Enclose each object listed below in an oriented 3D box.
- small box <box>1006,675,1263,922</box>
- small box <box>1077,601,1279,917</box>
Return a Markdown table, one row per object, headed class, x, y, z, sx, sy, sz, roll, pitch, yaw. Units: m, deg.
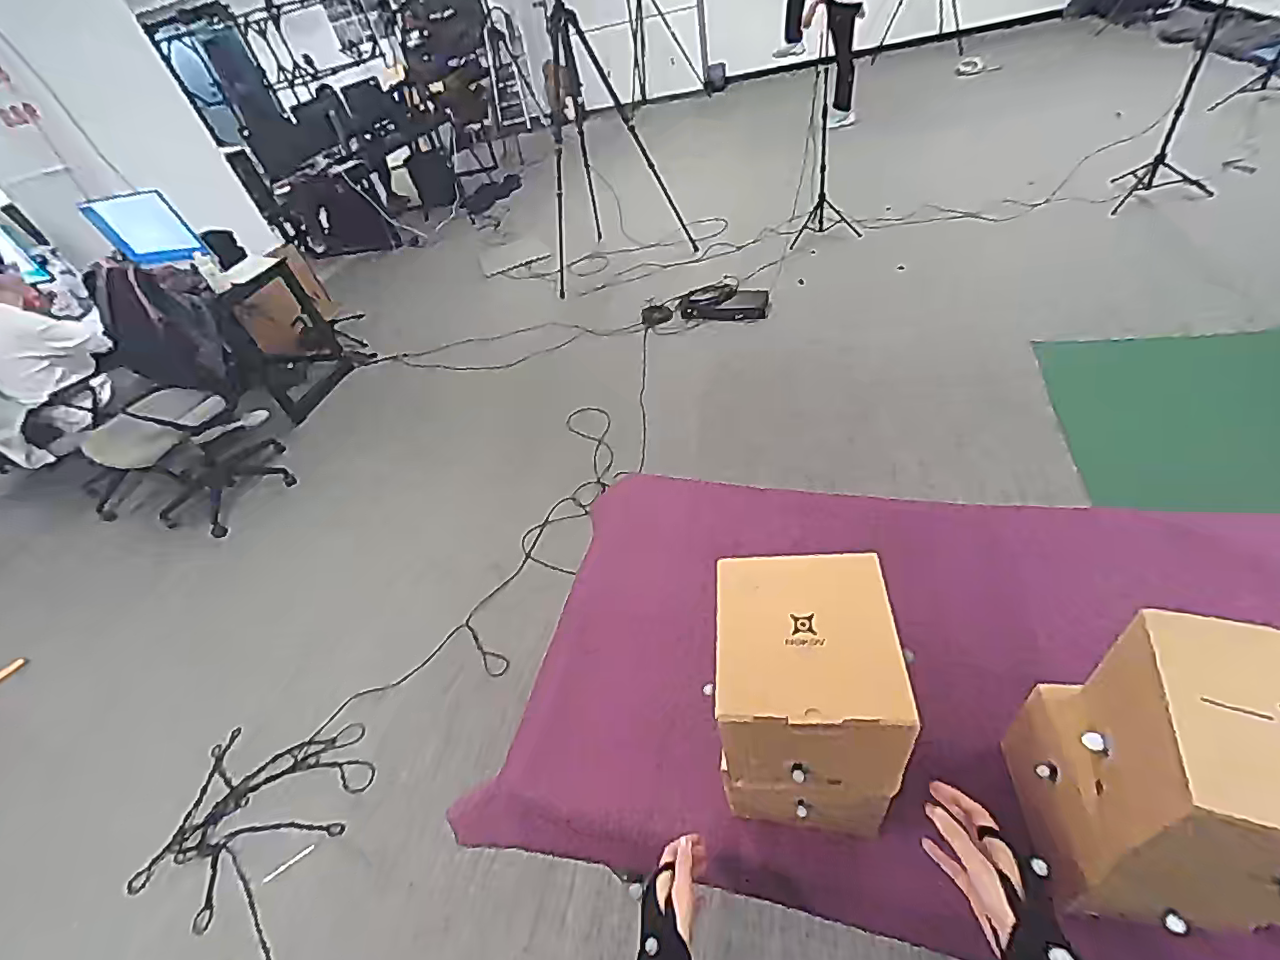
| class | x | y | z | sx | sy | sz | roll | pitch | yaw |
| --- | --- | --- | --- | --- | --- | --- | --- | --- | --- |
| small box | 0.515 | 0.327 | 0.564 | 0.168 | 0.176 | 0.179 | -3 | 44 | 14 |
| small box | 0.492 | 0.227 | 0.432 | 0.179 | 0.176 | 0.168 | 8 | 47 | 25 |
